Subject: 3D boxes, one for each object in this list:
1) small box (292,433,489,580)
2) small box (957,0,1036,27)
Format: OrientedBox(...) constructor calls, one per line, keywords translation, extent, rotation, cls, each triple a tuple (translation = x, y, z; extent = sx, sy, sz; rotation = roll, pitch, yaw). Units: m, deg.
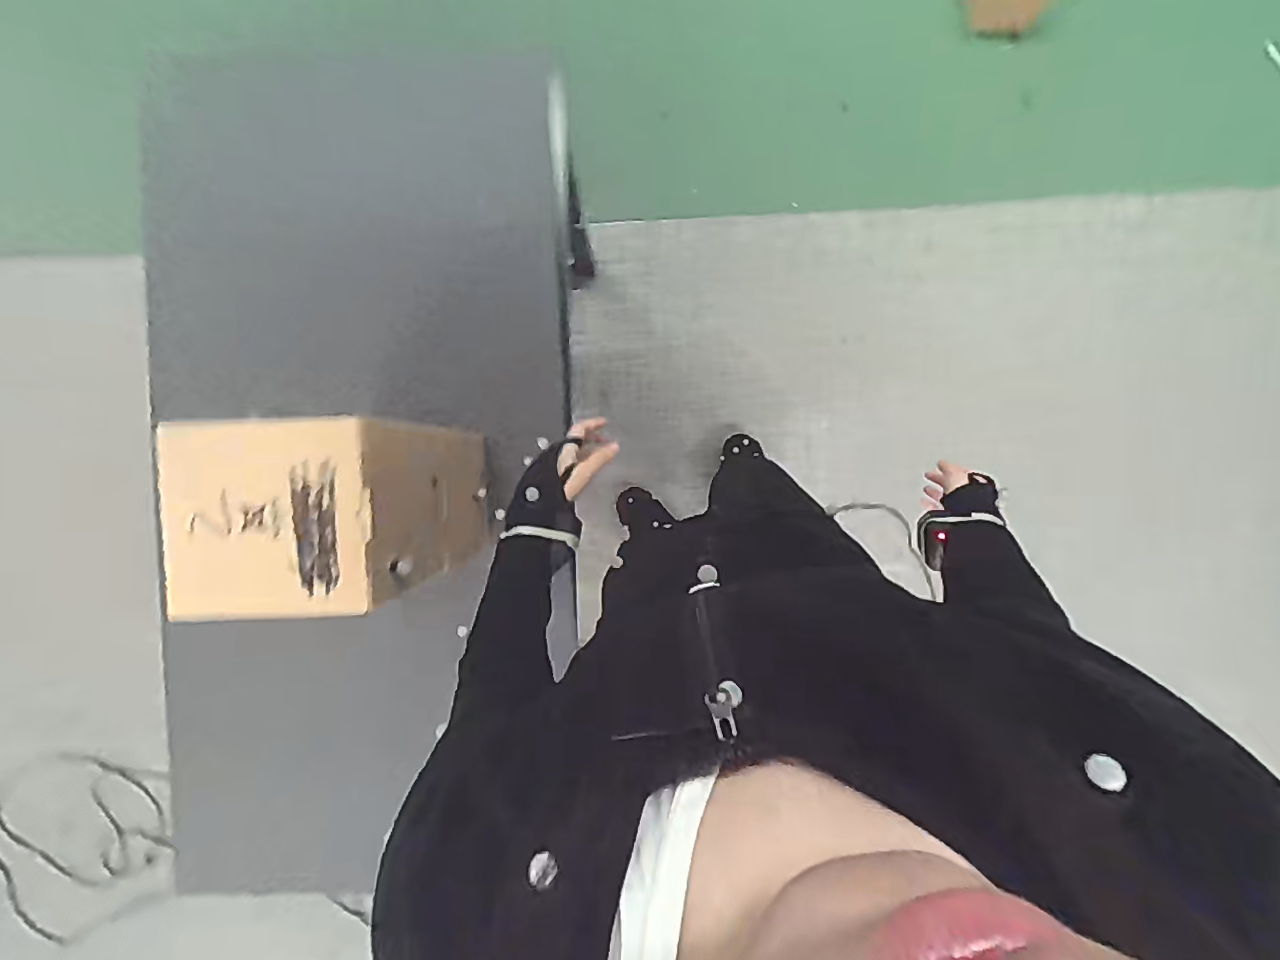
OrientedBox(translation=(-0.309, 0.029, 0.701), extent=(0.179, 0.176, 0.168), rotation=(-3, 92, 0), cls="small box")
OrientedBox(translation=(0.941, -1.318, 1.387), extent=(0.168, 0.176, 0.179), rotation=(-1, 92, 0), cls="small box")
